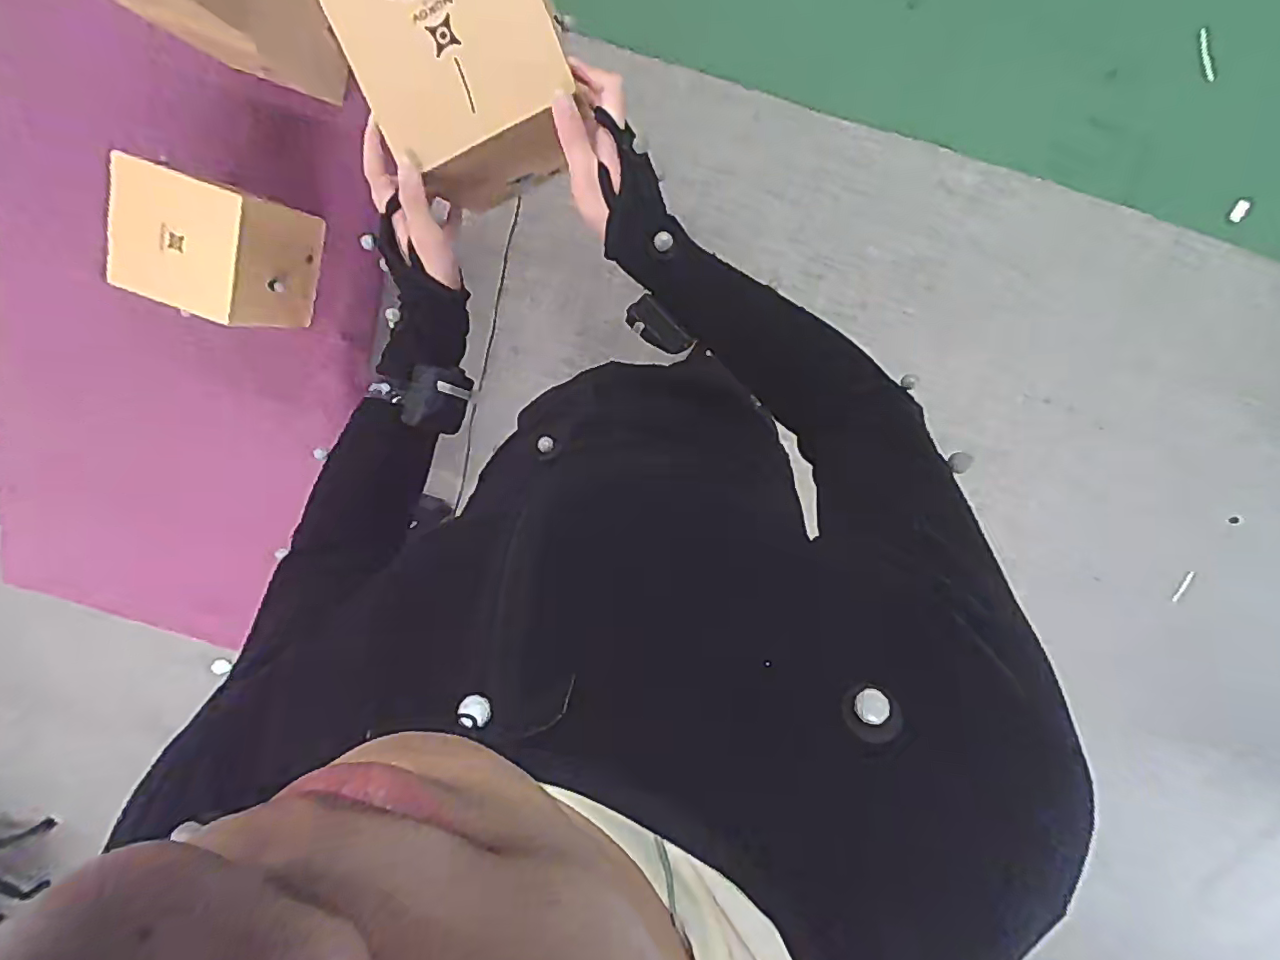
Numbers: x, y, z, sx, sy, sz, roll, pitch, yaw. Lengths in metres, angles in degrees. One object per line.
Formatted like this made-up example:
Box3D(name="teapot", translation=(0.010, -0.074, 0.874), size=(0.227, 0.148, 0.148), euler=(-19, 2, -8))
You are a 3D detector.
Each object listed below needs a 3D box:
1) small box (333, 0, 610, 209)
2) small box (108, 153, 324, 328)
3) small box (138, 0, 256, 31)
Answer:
Box3D(name="small box", translation=(-0.140, -0.380, 0.496), size=(0.168, 0.176, 0.179), euler=(-20, 105, 11))
Box3D(name="small box", translation=(-0.587, -0.326, 0.767), size=(0.179, 0.176, 0.168), euler=(20, 107, 0))
Box3D(name="small box", translation=(-0.504, -0.578, 0.514), size=(0.179, 0.176, 0.168), euler=(18, 108, 0))
